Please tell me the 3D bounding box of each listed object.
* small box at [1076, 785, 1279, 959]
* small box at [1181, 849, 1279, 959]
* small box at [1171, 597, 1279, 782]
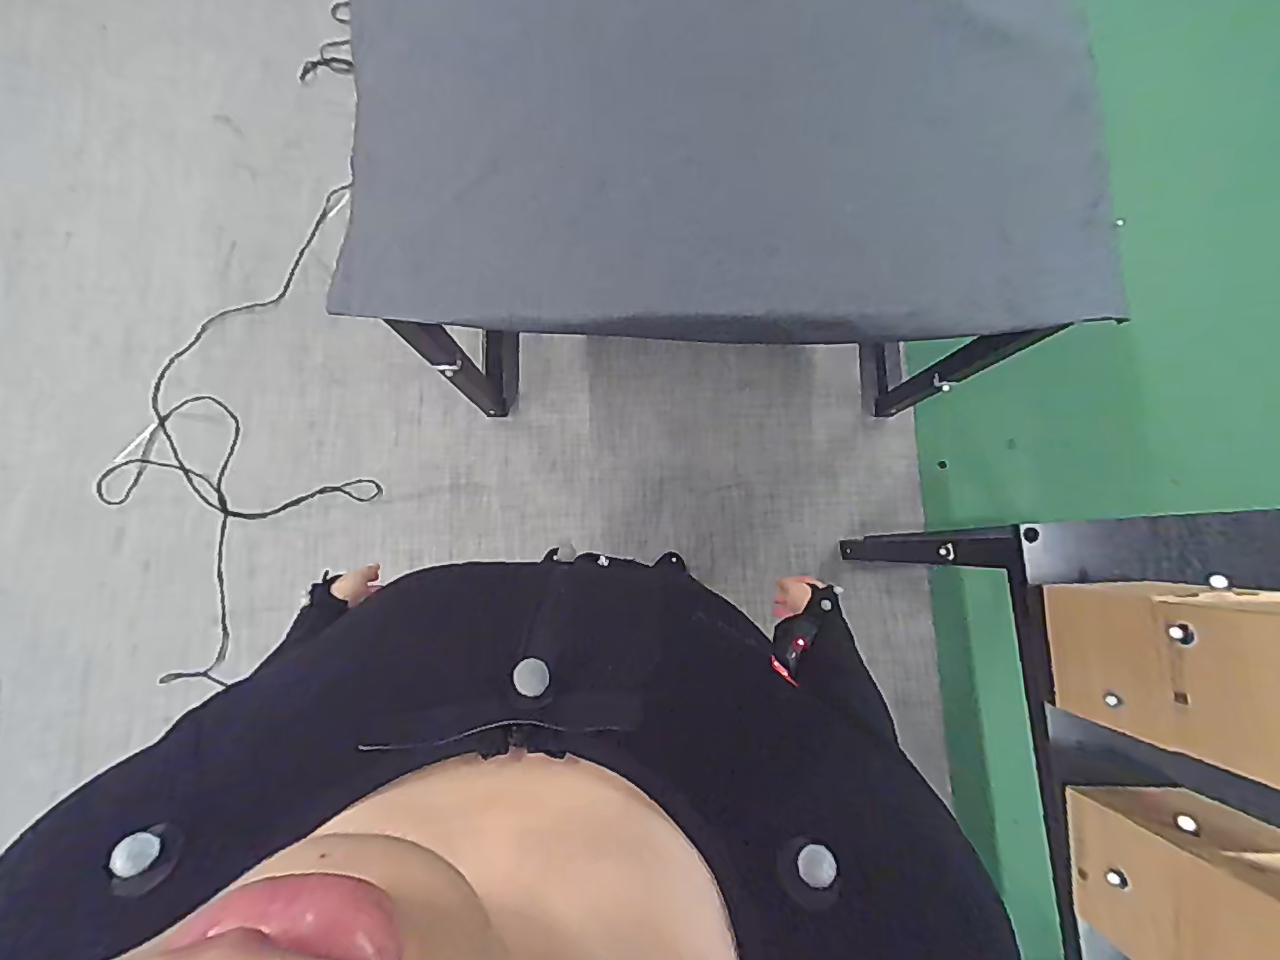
[{"bbox_3d":[0.679,0.497,0.663,0.179,0.176,0.168,2,84,-1],"label":"small box"},{"bbox_3d":[0.661,0.491,0.500,0.168,0.176,0.179,9,83,1],"label":"small box"},{"bbox_3d":[0.680,0.209,0.533,0.179,0.176,0.168,0,84,-2],"label":"small box"}]
